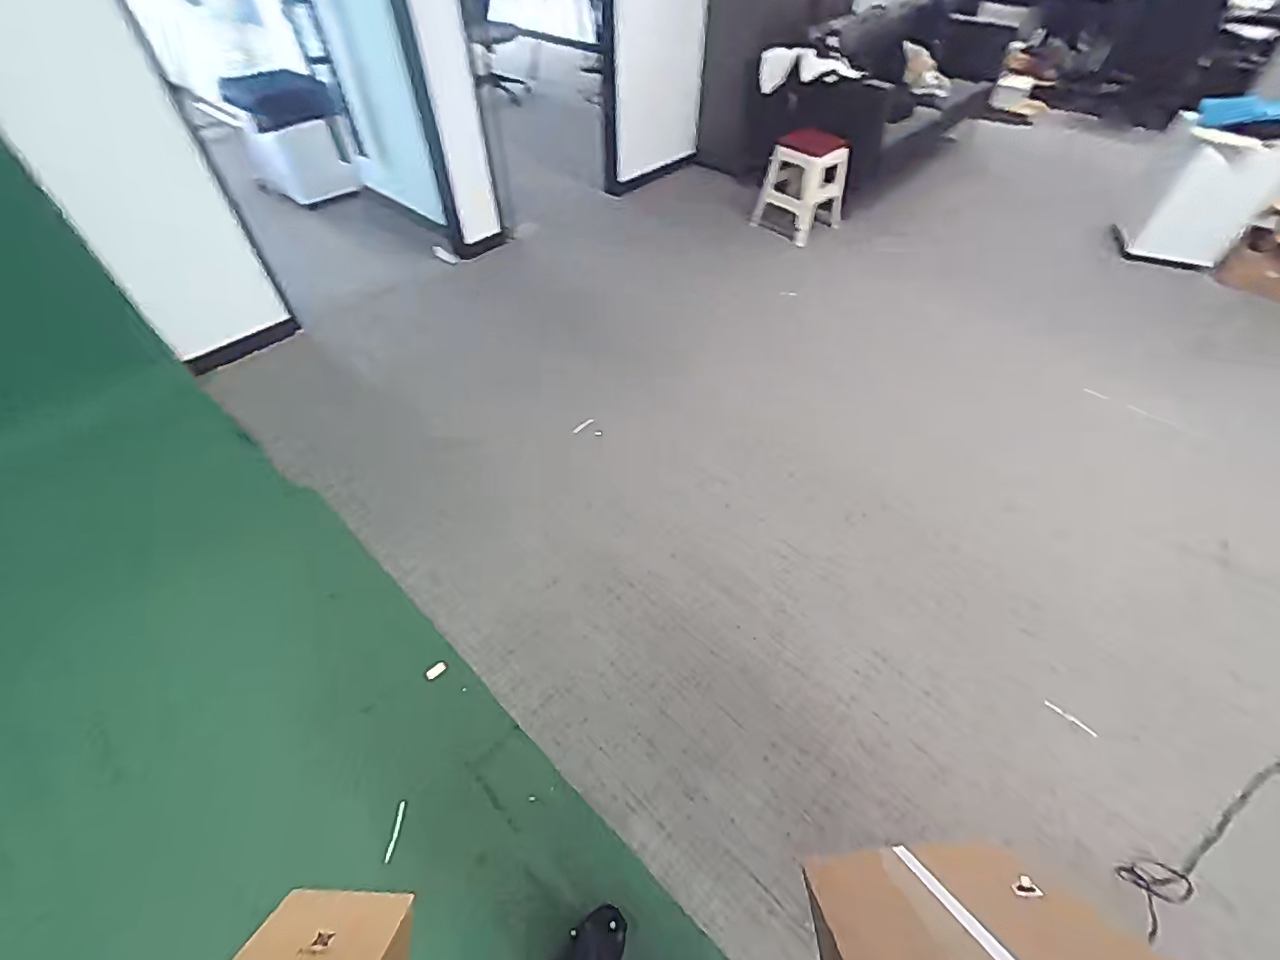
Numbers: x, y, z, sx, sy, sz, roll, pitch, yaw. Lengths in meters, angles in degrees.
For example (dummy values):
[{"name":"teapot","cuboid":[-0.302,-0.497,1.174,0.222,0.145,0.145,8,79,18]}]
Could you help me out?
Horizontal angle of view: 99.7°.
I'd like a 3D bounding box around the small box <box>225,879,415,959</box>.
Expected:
[{"name":"small box","cuboid":[-0.395,0.632,0.654,0.168,0.179,0.176,5,88,-2]}]
